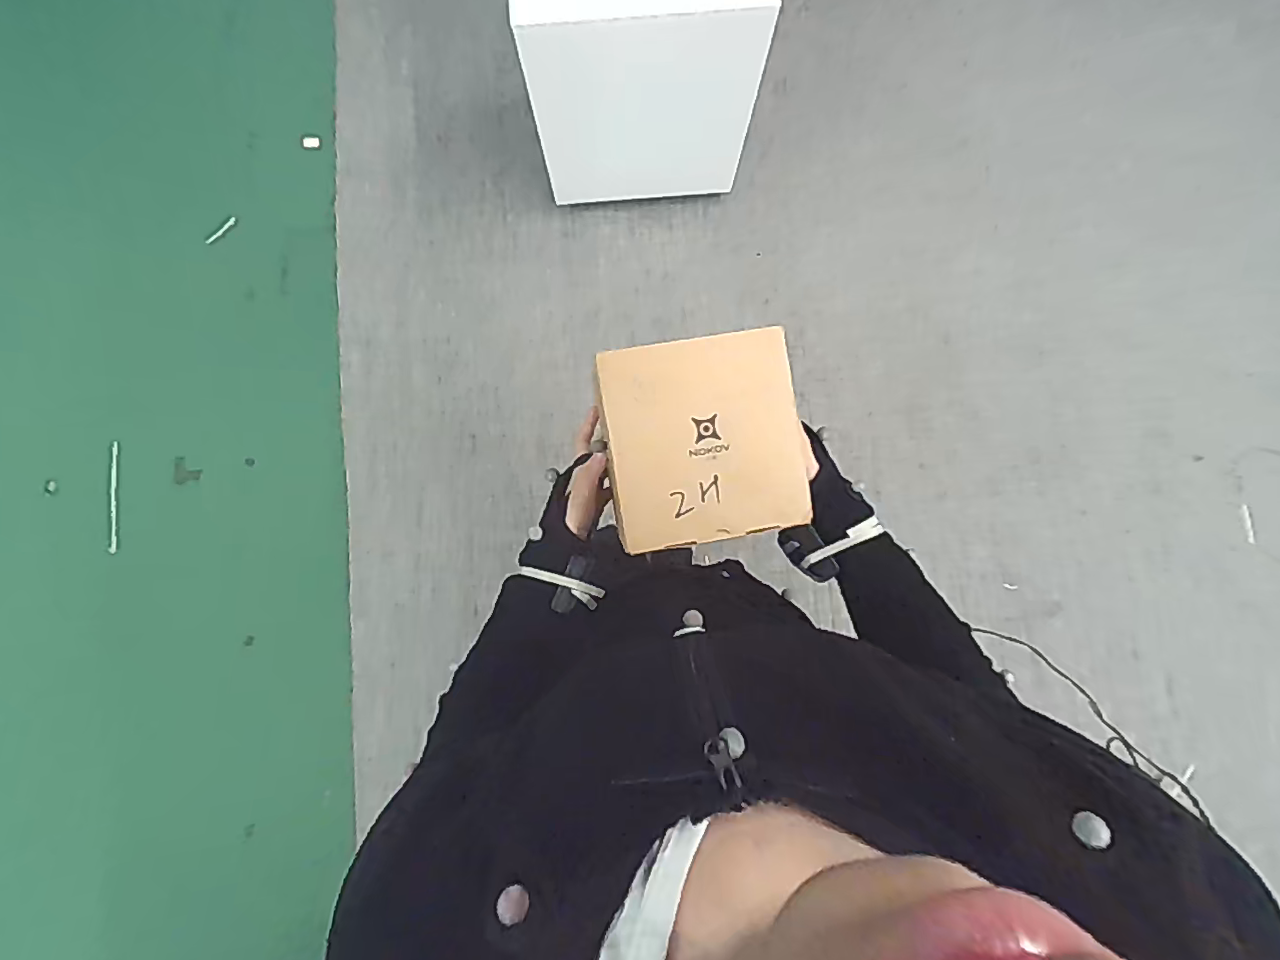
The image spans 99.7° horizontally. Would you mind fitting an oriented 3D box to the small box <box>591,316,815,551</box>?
[{"bbox_3d":[0.045,-0.037,0.521,0.168,0.176,0.179,-10,90,-4],"label":"small box"}]
